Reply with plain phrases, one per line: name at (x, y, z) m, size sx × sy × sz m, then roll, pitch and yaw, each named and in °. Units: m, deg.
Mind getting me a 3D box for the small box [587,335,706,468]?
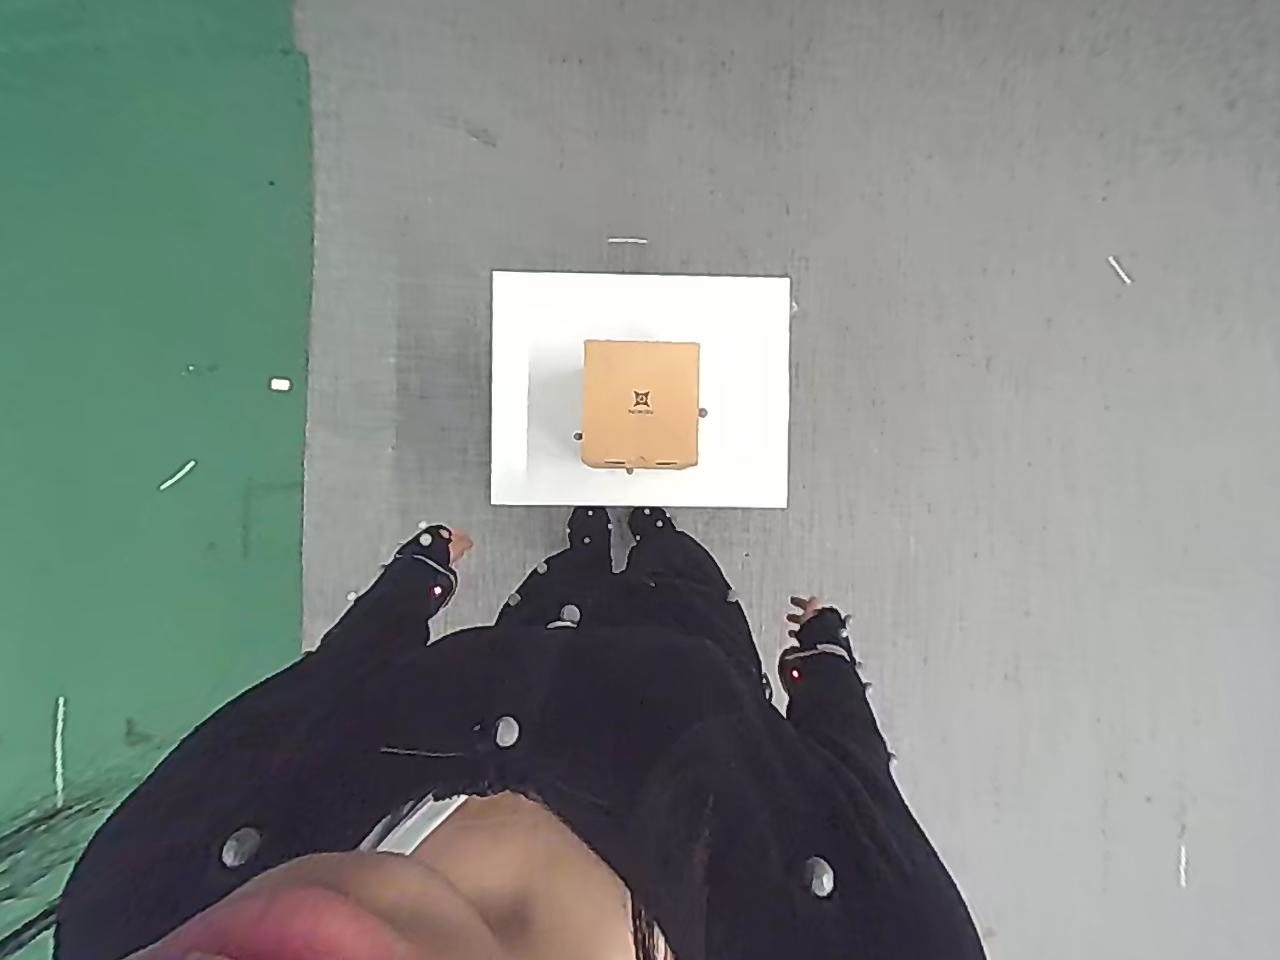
small box at (0.006, -0.111, 0.824) m, size 0.168 × 0.176 × 0.179 m, roll 1°, pitch 90°, yaw -2°
